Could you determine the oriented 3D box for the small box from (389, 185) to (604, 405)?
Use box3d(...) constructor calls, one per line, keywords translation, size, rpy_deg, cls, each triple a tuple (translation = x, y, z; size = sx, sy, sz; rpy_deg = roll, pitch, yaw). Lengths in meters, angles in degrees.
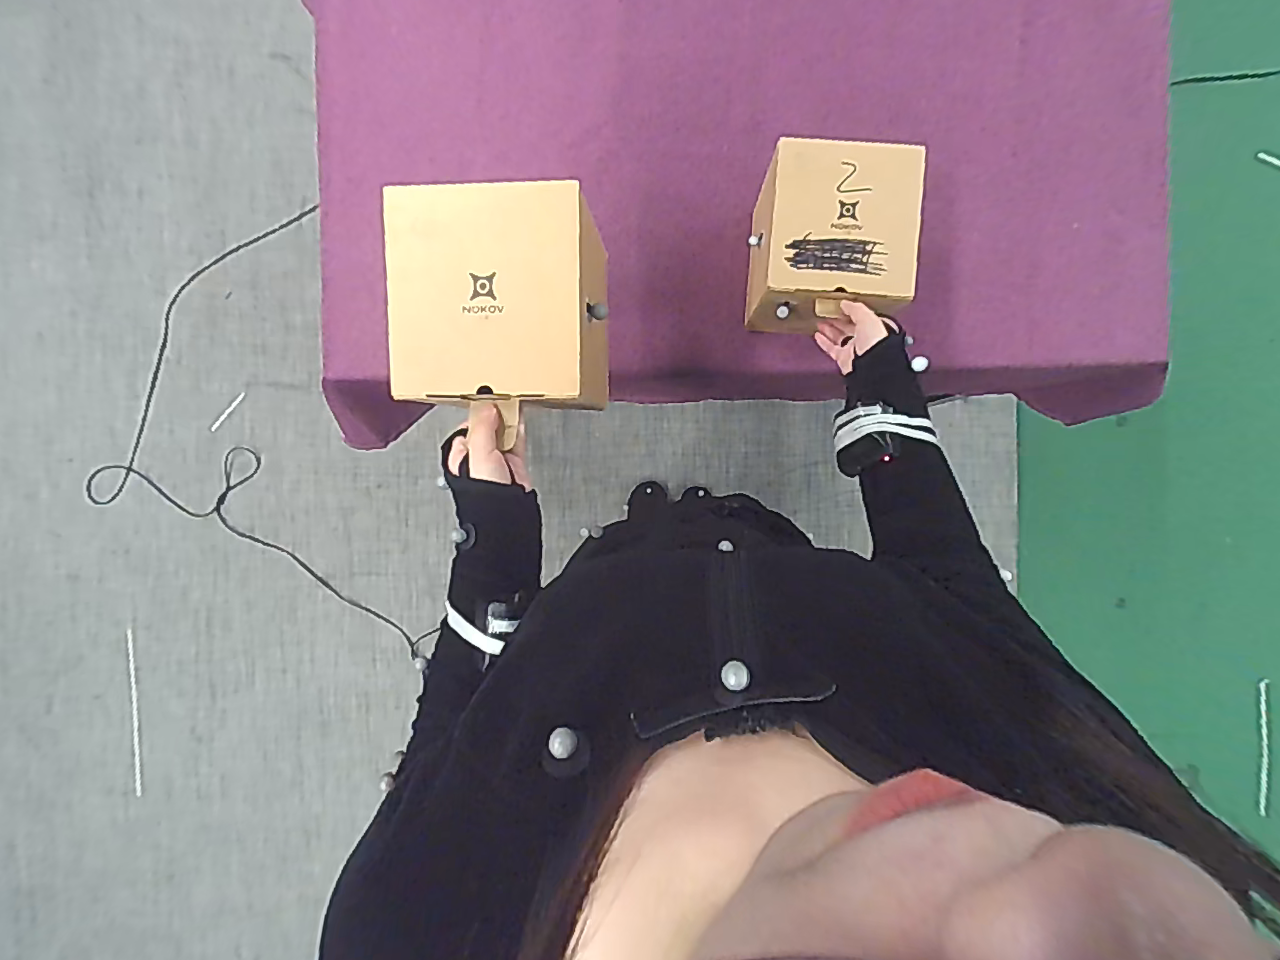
box3d(translation=(-0.129, -0.168, 0.542), size=(0.168, 0.176, 0.179), rpy_deg=(1, 96, 4), cls="small box")
